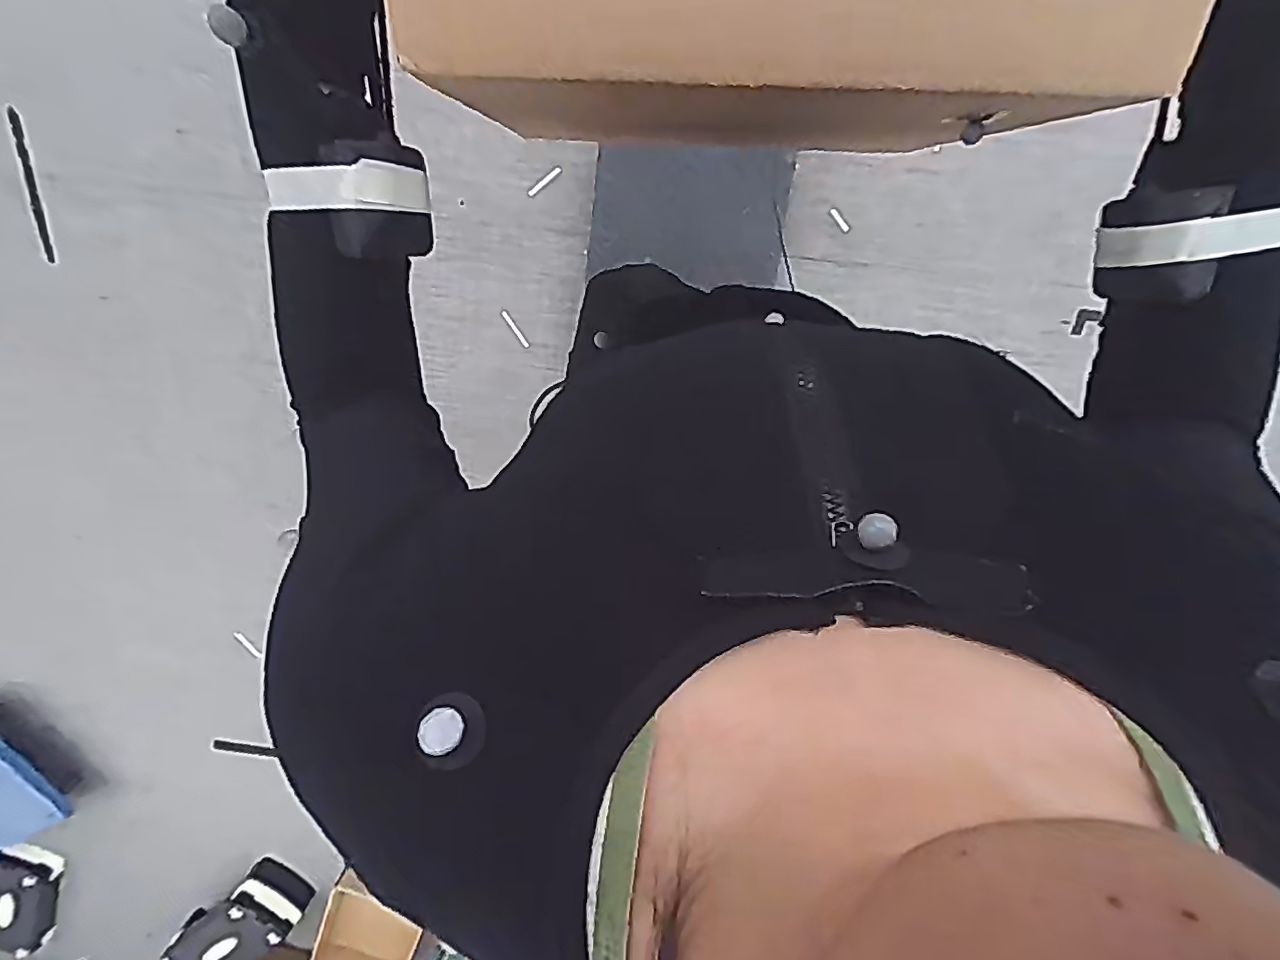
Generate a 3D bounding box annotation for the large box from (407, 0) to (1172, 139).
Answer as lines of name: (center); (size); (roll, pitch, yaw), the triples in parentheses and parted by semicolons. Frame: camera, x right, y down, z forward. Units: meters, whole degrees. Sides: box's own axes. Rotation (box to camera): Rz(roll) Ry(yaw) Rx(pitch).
large box: (0.081, -0.418, 0.359); (0.408, 0.320, 0.320); (1, 117, 0)
